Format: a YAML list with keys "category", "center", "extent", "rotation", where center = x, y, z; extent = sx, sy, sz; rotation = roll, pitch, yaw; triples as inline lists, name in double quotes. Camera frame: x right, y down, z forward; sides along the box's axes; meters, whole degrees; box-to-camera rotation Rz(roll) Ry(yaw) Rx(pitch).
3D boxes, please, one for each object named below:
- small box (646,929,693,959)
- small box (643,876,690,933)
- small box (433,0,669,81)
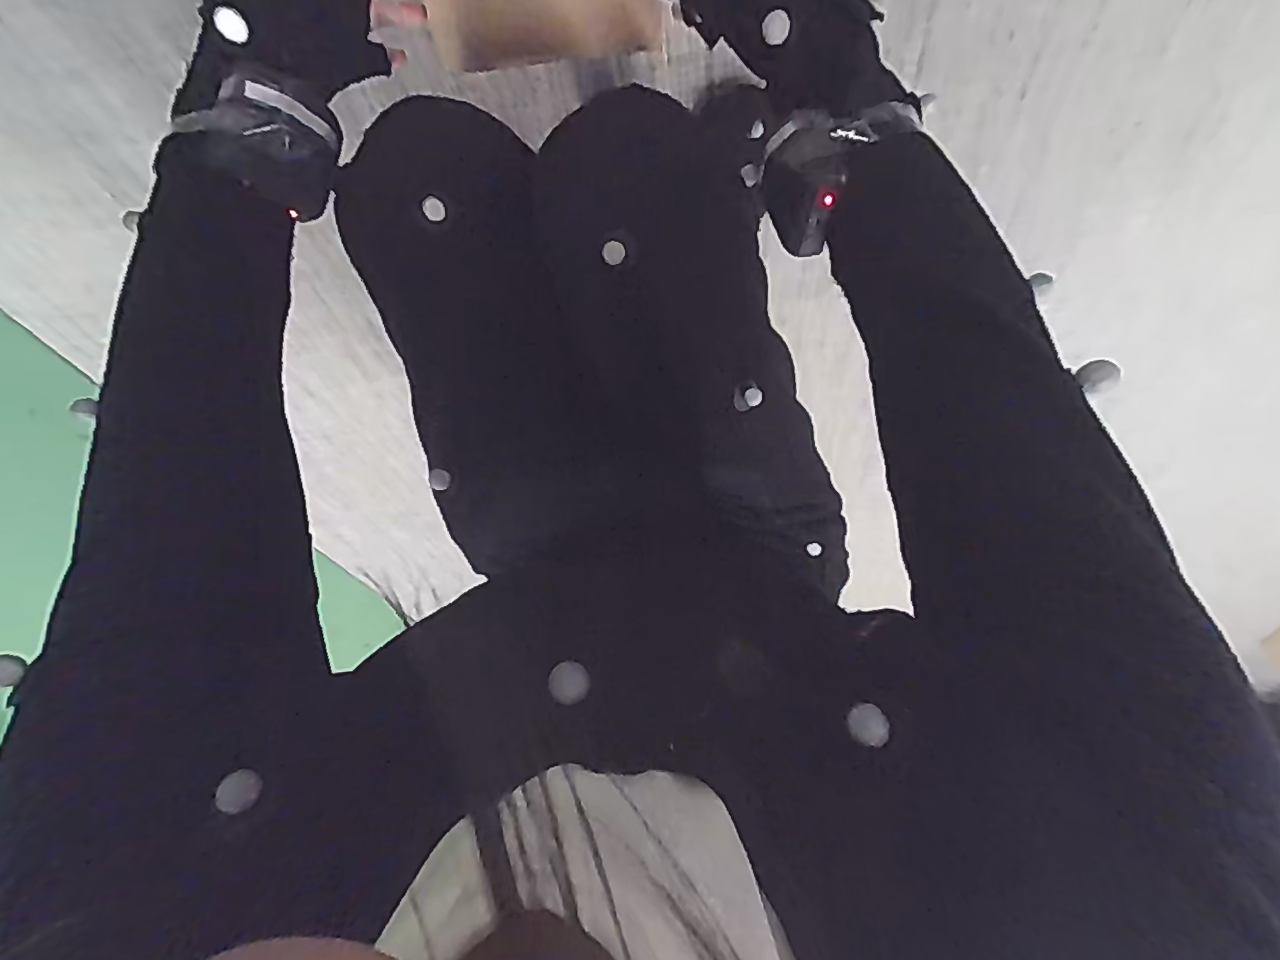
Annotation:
- category: "small box"
  center: [0.112, 1.825, 2.065]
  extent: [0.179, 0.176, 0.168]
  rotation: [-5, 145, 4]
- category: "small box"
  center: [0.104, 1.697, 2.166]
  extent: [0.179, 0.176, 0.168]
  rotation: [-6, 145, 4]
- category: "small box"
  center: [-0.073, -0.443, 0.419]
  extent: [0.179, 0.176, 0.168]
  rotation: [-4, 143, 3]
